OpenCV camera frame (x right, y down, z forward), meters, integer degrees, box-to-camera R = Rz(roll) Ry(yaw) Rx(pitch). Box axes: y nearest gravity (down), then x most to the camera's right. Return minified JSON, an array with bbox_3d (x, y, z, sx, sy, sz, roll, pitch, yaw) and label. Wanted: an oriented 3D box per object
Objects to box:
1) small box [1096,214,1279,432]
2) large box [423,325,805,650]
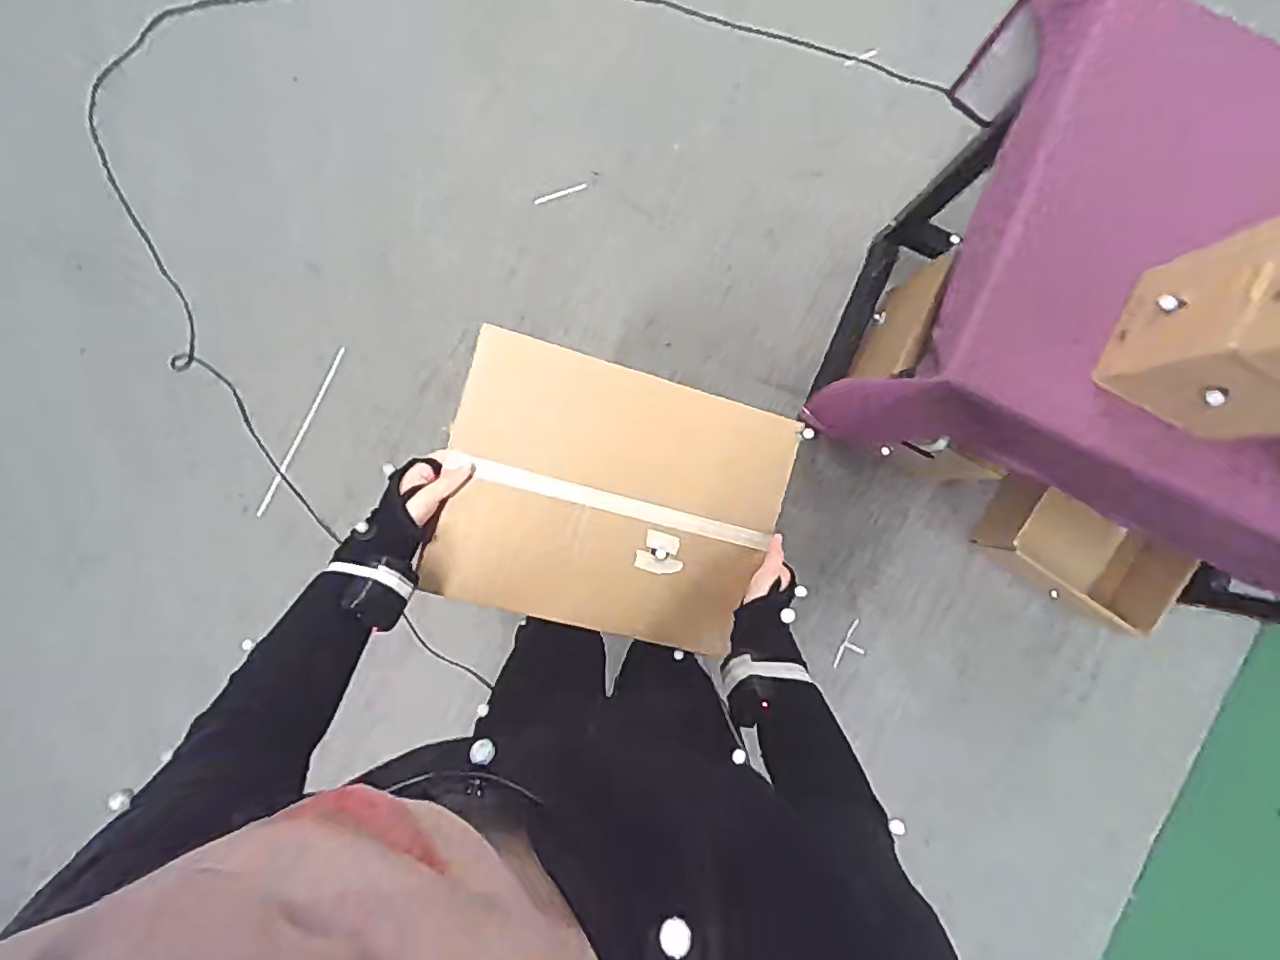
[{"bbox_3d":[0.706,-0.167,0.636,0.179,0.176,0.168,28,90,-1],"label":"small box"},{"bbox_3d":[-0.047,0.009,0.788,0.408,0.320,0.320,16,93,-11],"label":"large box"}]
